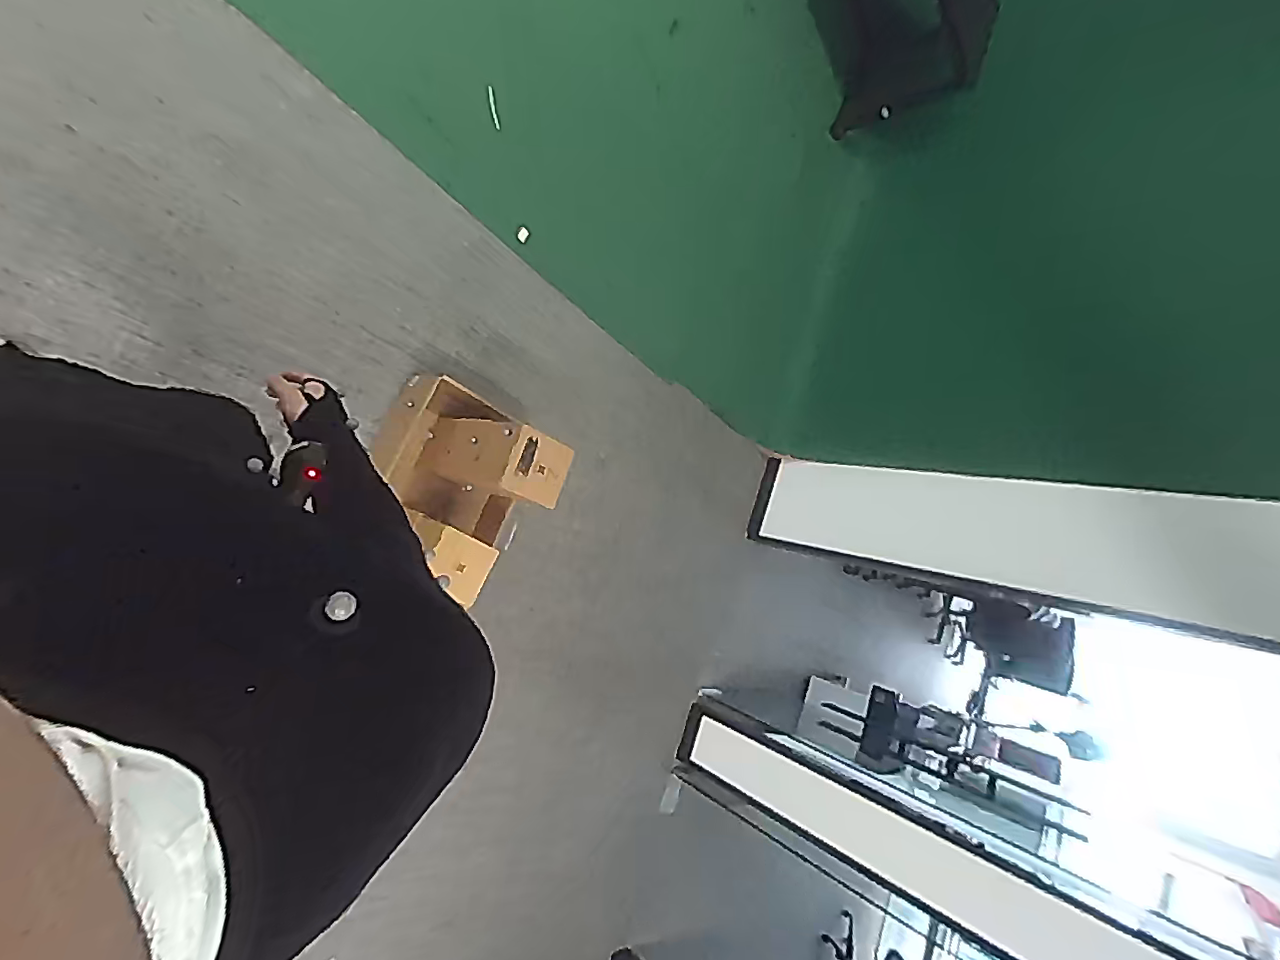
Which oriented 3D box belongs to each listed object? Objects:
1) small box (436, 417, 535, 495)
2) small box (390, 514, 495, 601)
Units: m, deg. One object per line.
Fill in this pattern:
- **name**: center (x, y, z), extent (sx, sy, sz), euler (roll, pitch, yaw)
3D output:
- **small box**: center (-0.434, -0.072, 1.518), extent (0.179, 0.176, 0.168), euler (30, 73, -45)
- **small box**: center (-0.535, 0.205, 1.463), extent (0.179, 0.176, 0.168), euler (38, 70, -41)
